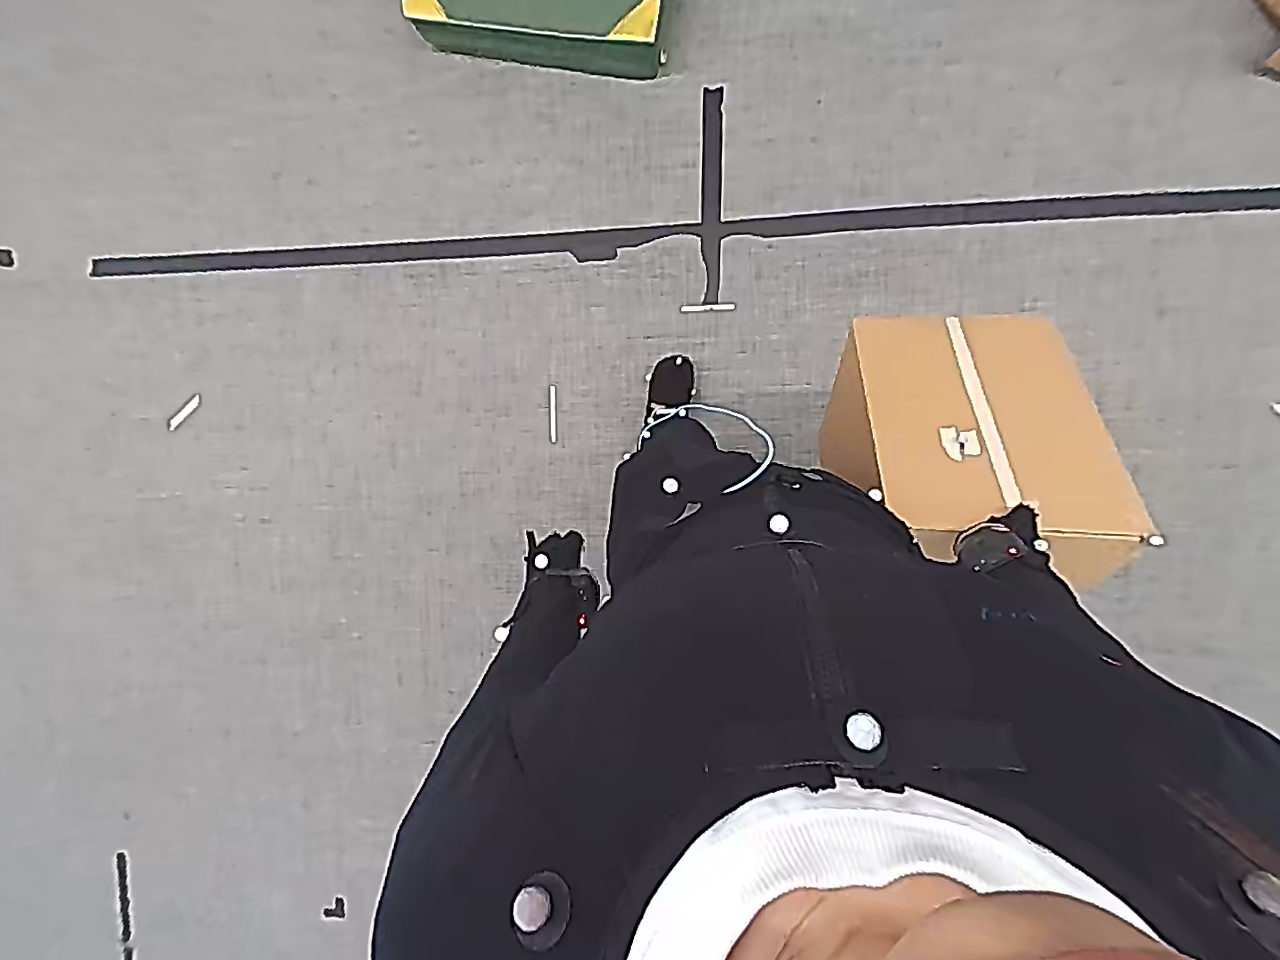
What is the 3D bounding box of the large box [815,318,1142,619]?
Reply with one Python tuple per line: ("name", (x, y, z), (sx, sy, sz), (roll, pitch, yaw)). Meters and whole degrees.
("large box", (0.493, -0.017, 0.907), (0.320, 0.320, 0.408), (1, 58, 9))
